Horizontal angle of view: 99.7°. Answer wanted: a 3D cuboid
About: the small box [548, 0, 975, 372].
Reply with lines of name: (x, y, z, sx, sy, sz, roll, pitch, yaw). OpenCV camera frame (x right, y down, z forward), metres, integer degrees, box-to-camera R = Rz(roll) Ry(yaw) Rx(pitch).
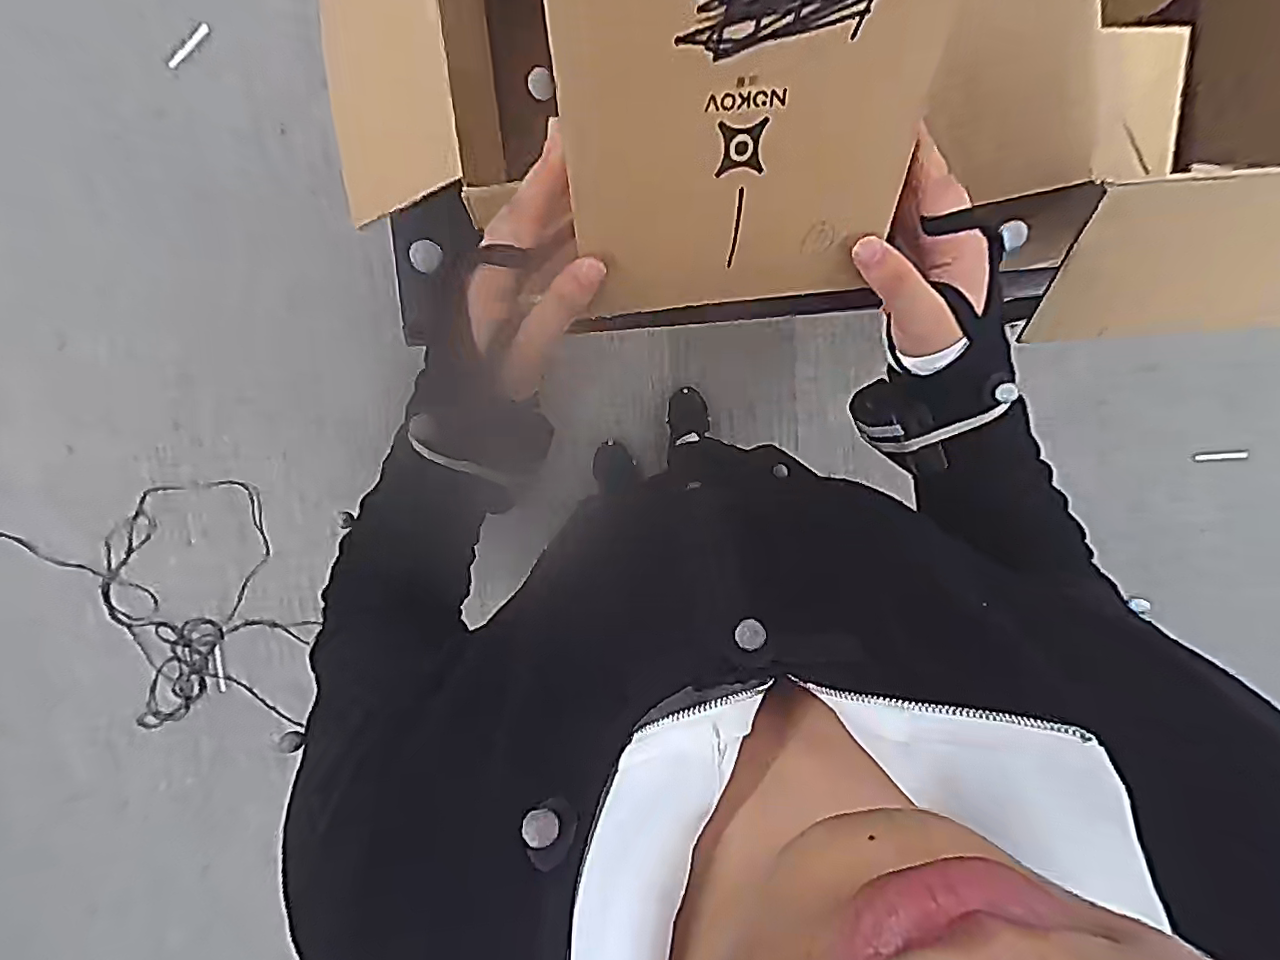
small box: (0.041, -0.189, 0.308, 0.168, 0.176, 0.179, -7, 139, -3)
